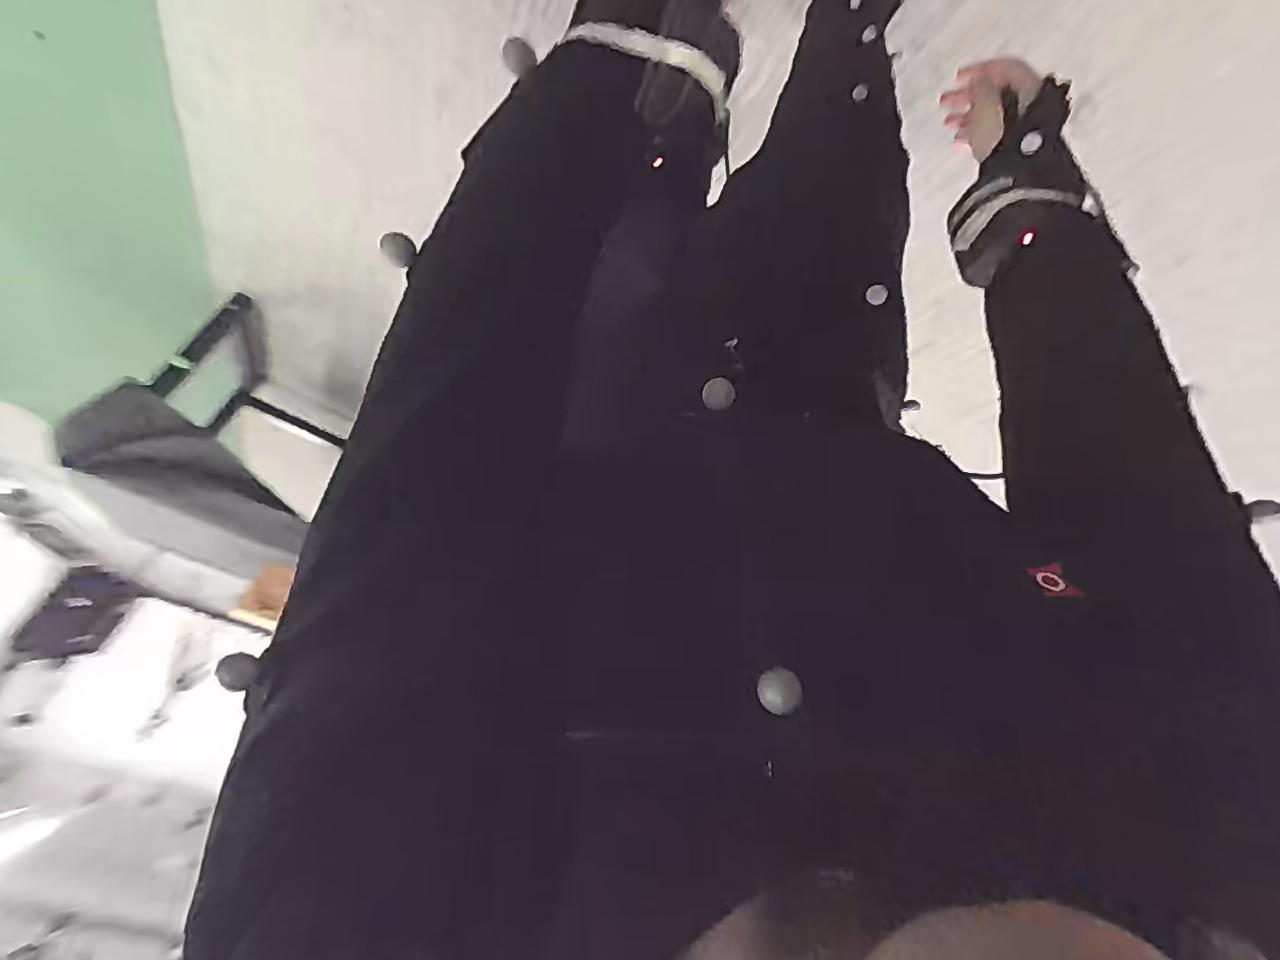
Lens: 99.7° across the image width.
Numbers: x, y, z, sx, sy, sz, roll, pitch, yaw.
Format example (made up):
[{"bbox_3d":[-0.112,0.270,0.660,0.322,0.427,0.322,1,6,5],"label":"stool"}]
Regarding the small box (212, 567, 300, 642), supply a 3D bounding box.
[{"bbox_3d":[-1.210,0.396,1.710,0.168,0.176,0.179,33,144,-24],"label":"small box"}]
